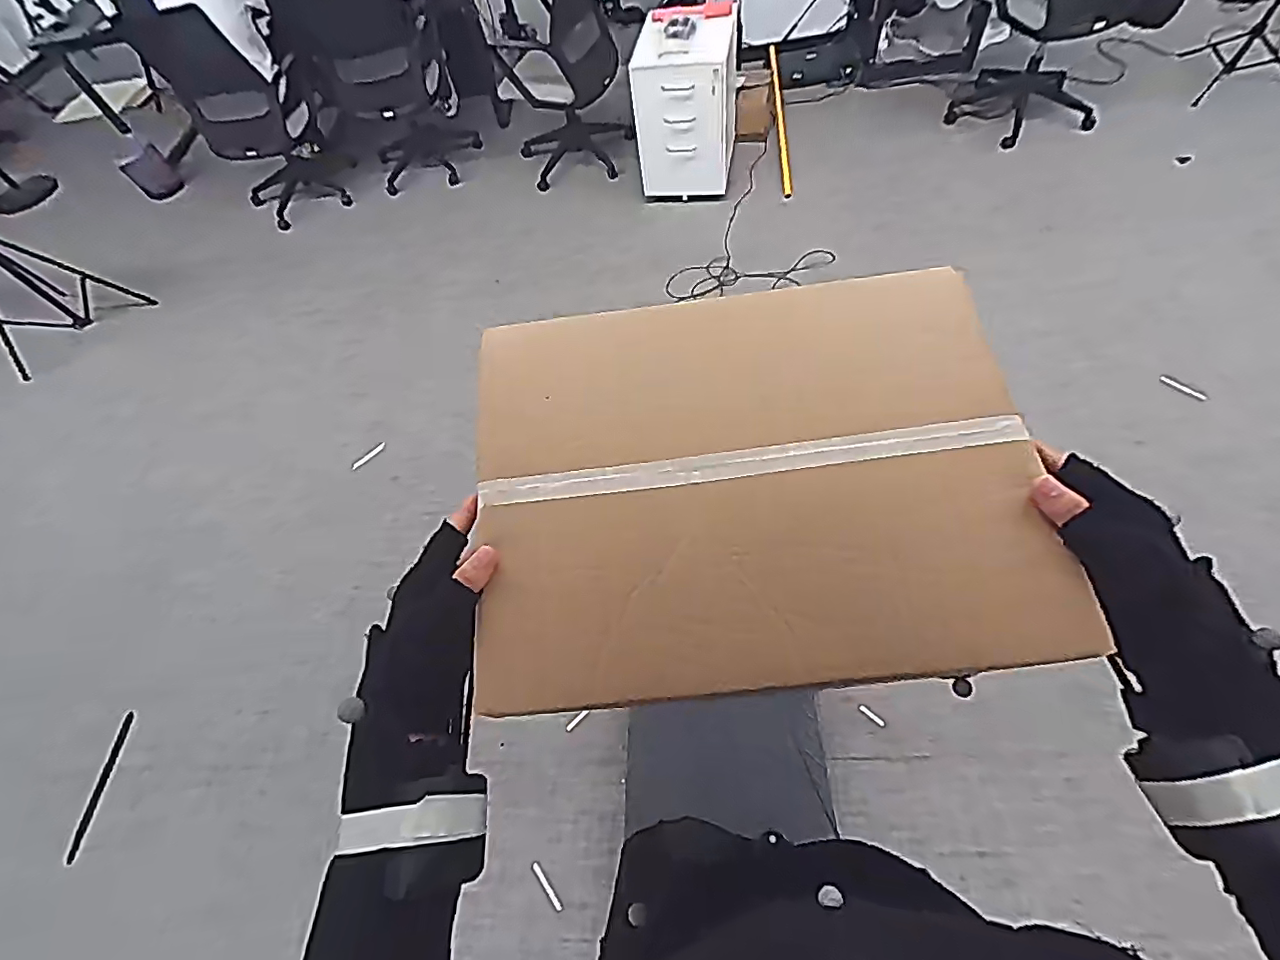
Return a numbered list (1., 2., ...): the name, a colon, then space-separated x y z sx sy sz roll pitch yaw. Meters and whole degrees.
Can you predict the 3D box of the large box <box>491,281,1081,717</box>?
1. large box: 0.095 0.049 0.554 0.408 0.320 0.320 -7 67 3
